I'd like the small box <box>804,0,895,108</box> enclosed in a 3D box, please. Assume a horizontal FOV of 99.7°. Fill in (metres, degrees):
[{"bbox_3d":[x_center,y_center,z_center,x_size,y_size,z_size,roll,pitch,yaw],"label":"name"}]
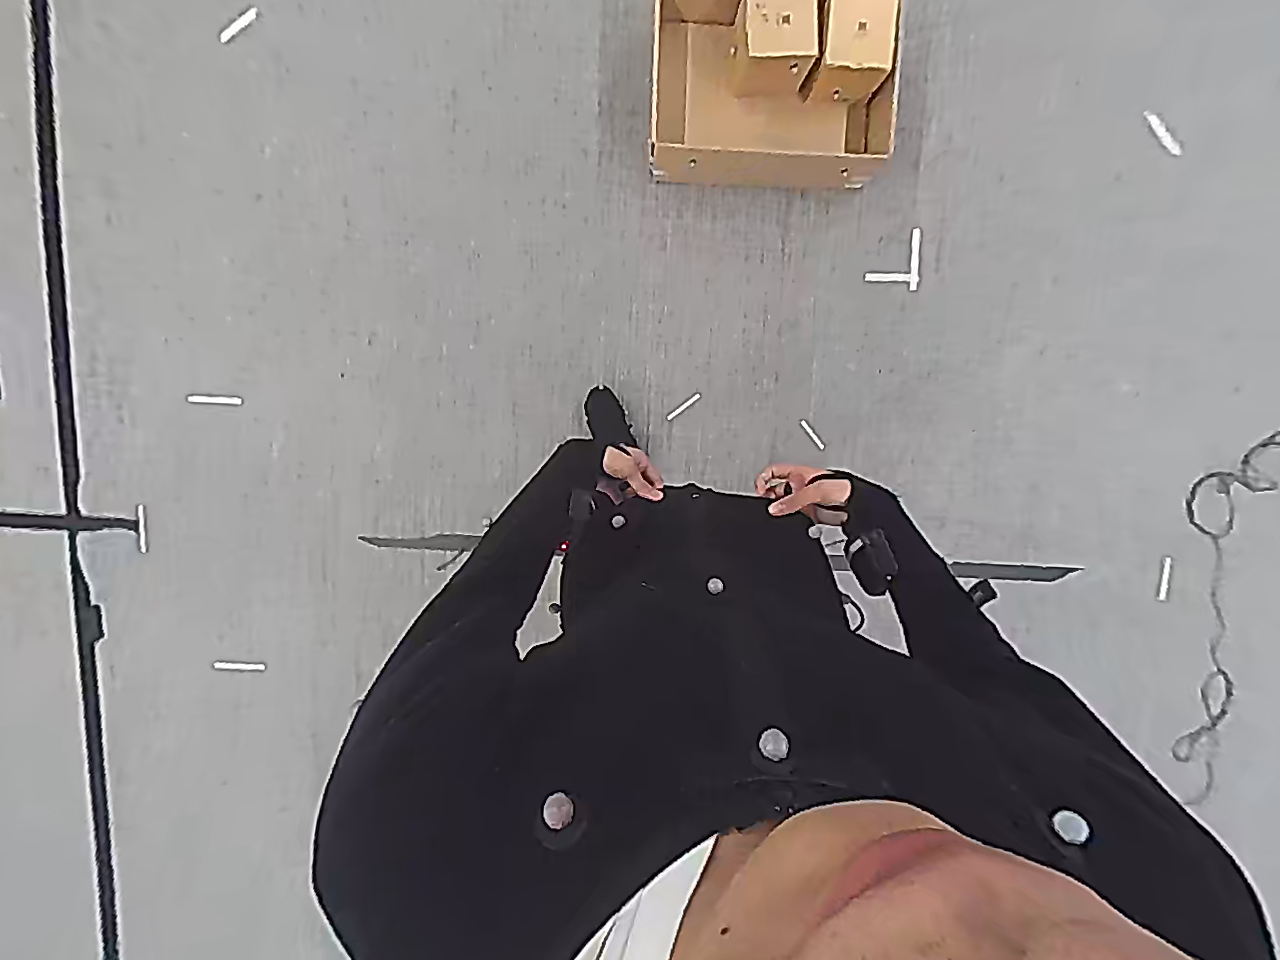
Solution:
[{"bbox_3d":[0.530,-1.102,1.391,0.168,0.176,0.179,2,99,-1],"label":"small box"}]
